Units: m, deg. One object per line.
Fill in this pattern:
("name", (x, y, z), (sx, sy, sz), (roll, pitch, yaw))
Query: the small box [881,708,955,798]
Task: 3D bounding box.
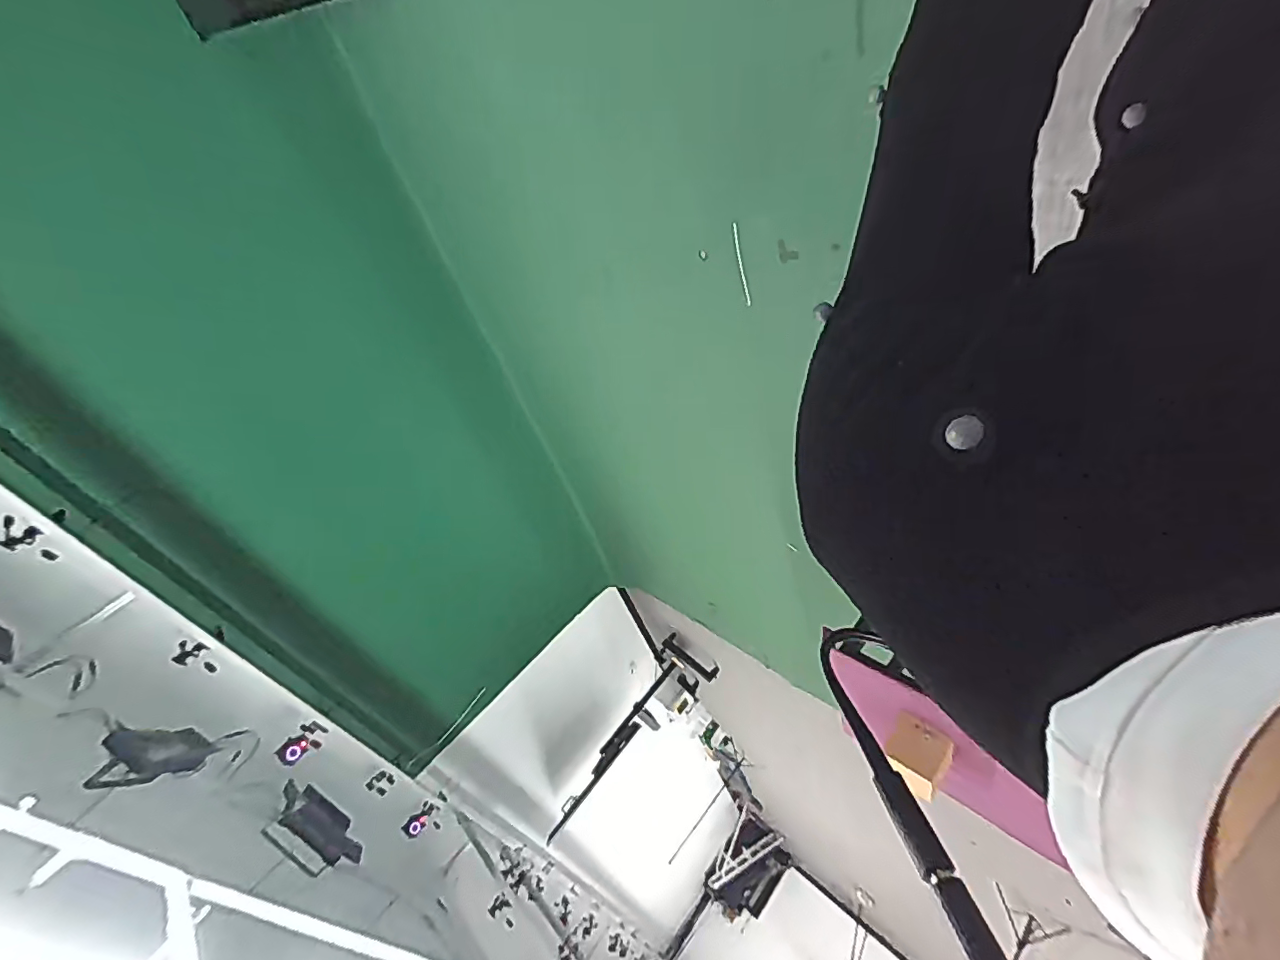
("small box", (0.910, 0.888, 1.770), (0.168, 0.176, 0.179), (21, 146, 41))
